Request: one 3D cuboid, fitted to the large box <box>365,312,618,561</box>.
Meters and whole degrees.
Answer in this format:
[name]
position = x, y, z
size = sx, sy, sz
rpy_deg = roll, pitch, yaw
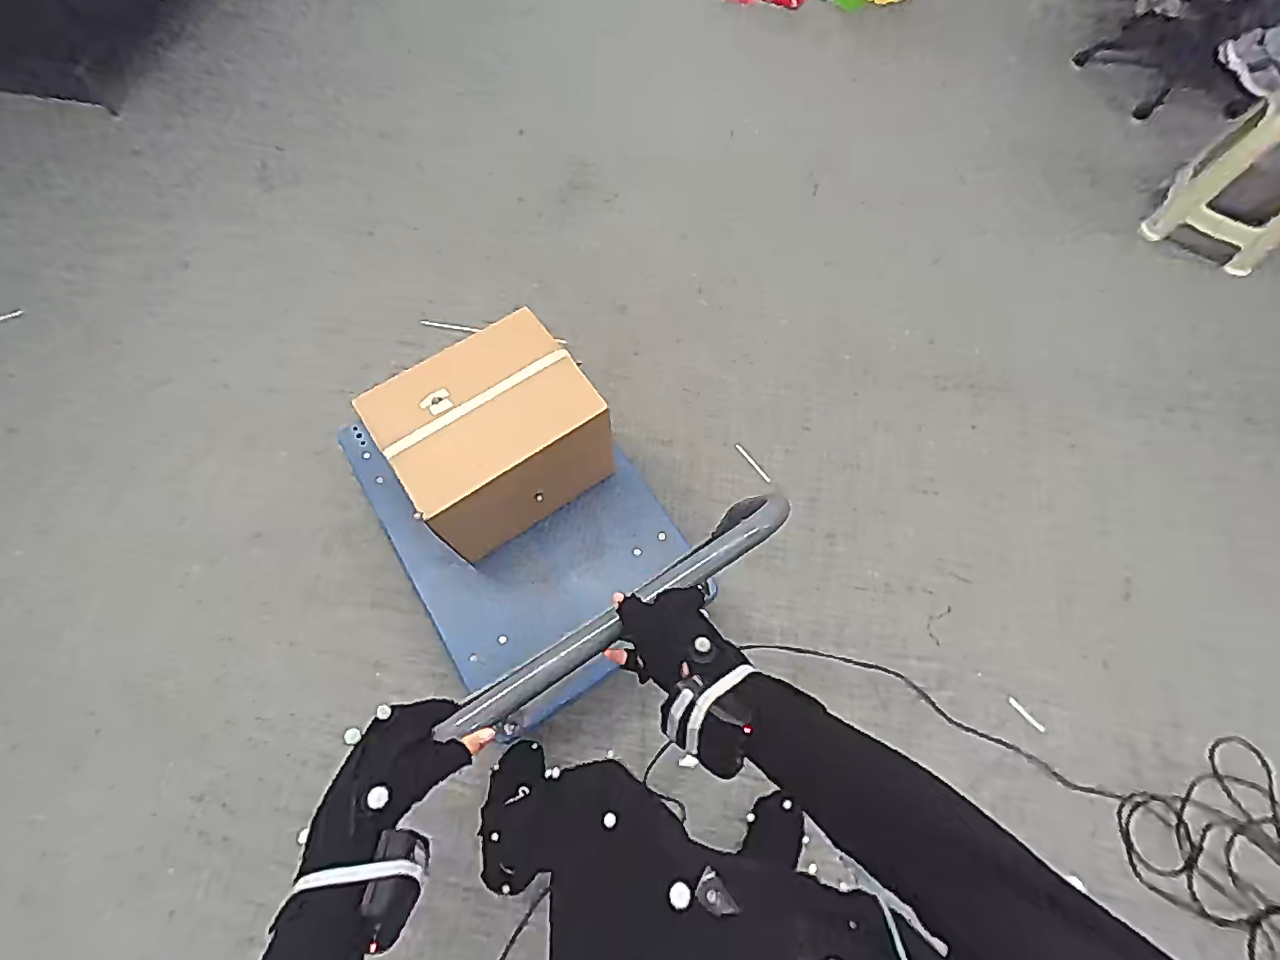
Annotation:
[large box]
position = -0.297, -0.084, 1.204
size = 0.408, 0.320, 0.320
rpy_deg = -34, 70, -13
